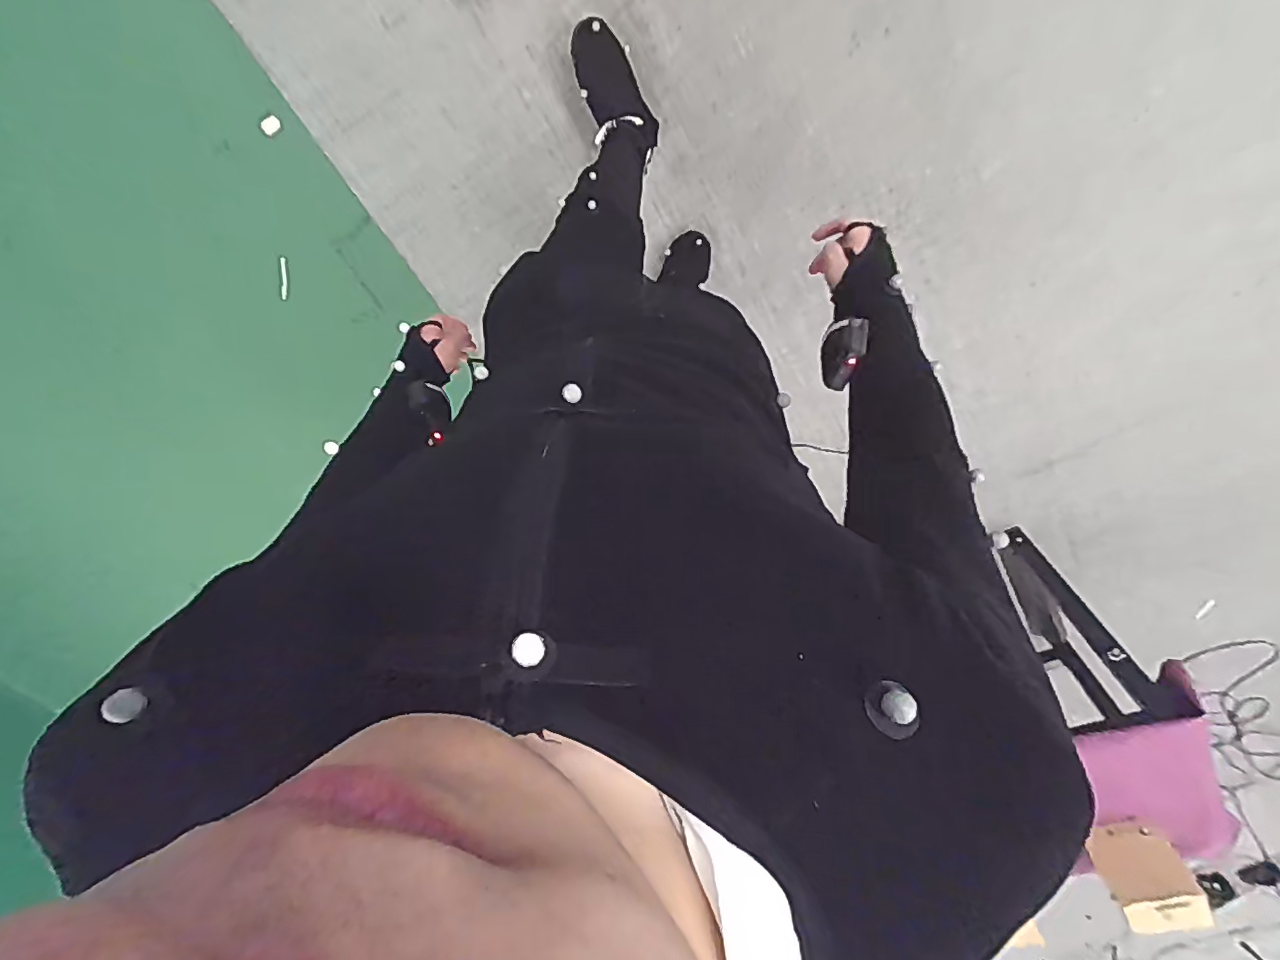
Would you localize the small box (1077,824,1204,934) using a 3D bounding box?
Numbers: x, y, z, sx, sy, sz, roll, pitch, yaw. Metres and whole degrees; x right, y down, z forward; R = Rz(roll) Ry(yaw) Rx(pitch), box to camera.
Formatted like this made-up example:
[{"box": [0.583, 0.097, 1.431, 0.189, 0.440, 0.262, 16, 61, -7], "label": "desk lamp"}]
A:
[{"box": [1.227, 0.979, 1.337, 0.168, 0.176, 0.179, -26, 117, 20], "label": "small box"}]
